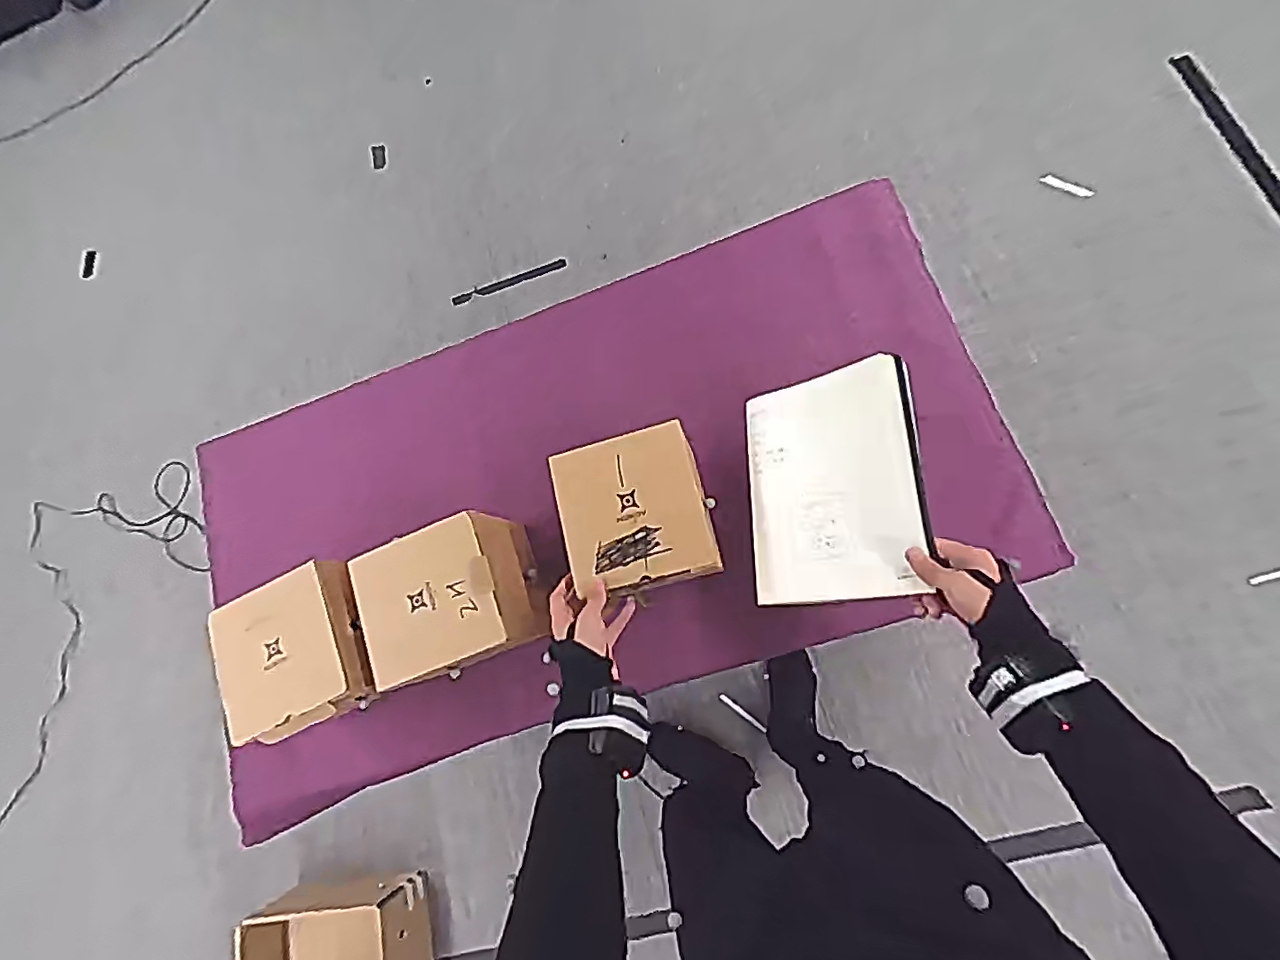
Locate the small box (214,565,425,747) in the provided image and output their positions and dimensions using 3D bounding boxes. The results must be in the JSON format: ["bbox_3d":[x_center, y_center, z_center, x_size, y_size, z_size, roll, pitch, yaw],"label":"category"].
[{"bbox_3d":[-0.430,0.231,0.748,0.168,0.176,0.179,-26,74,4],"label":"small box"}]

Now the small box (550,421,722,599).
[{"bbox_3d":[0.004,0.048,0.696,0.168,0.176,0.179,-16,75,8],"label":"small box"}]
